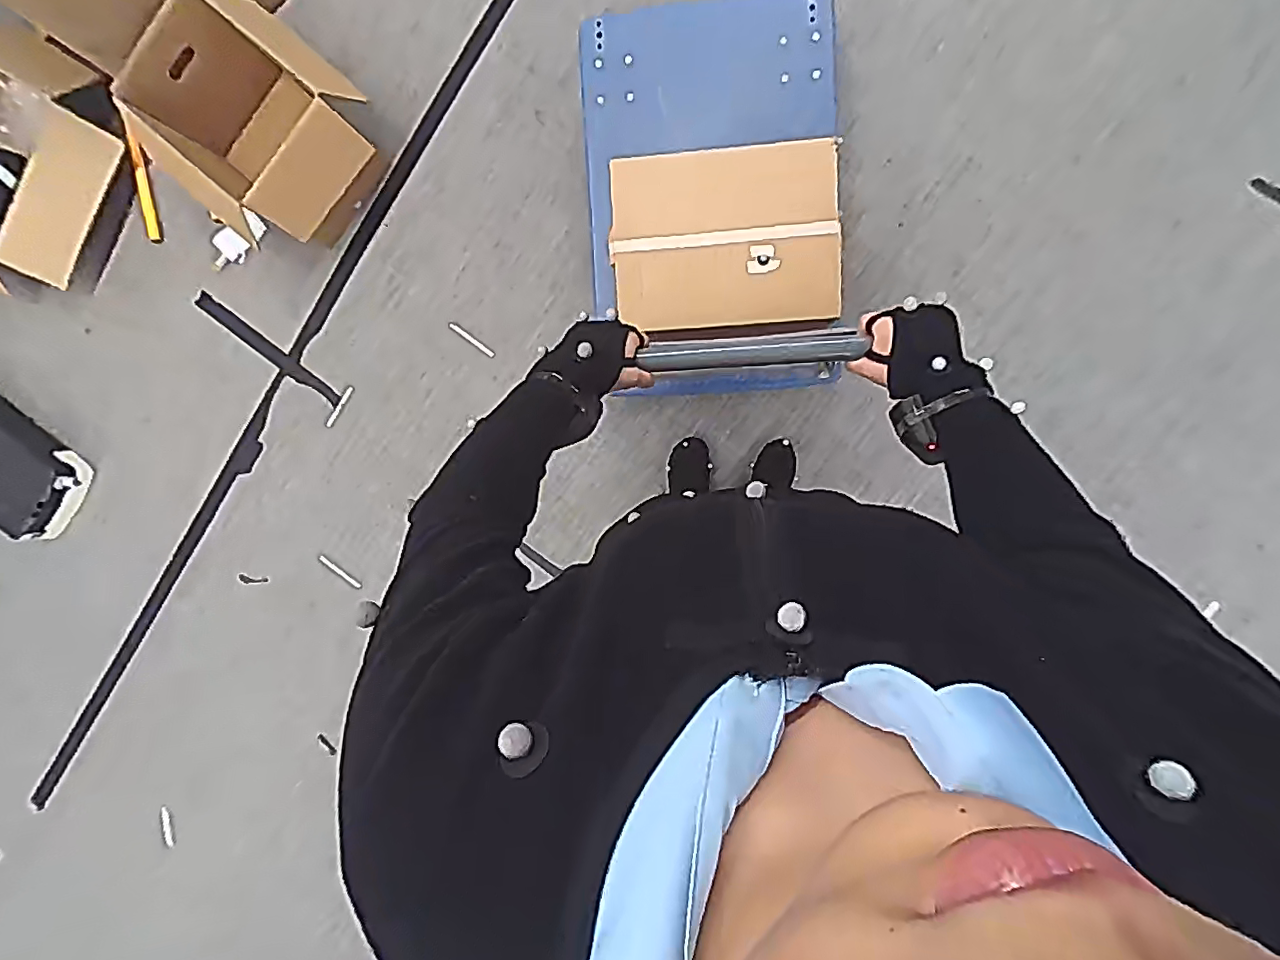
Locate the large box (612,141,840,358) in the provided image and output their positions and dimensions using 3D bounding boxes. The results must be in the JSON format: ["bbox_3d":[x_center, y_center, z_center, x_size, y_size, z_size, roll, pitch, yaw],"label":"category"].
[{"bbox_3d":[0.165,-0.446,1.128,0.408,0.320,0.320,-3,95,4],"label":"large box"}]
